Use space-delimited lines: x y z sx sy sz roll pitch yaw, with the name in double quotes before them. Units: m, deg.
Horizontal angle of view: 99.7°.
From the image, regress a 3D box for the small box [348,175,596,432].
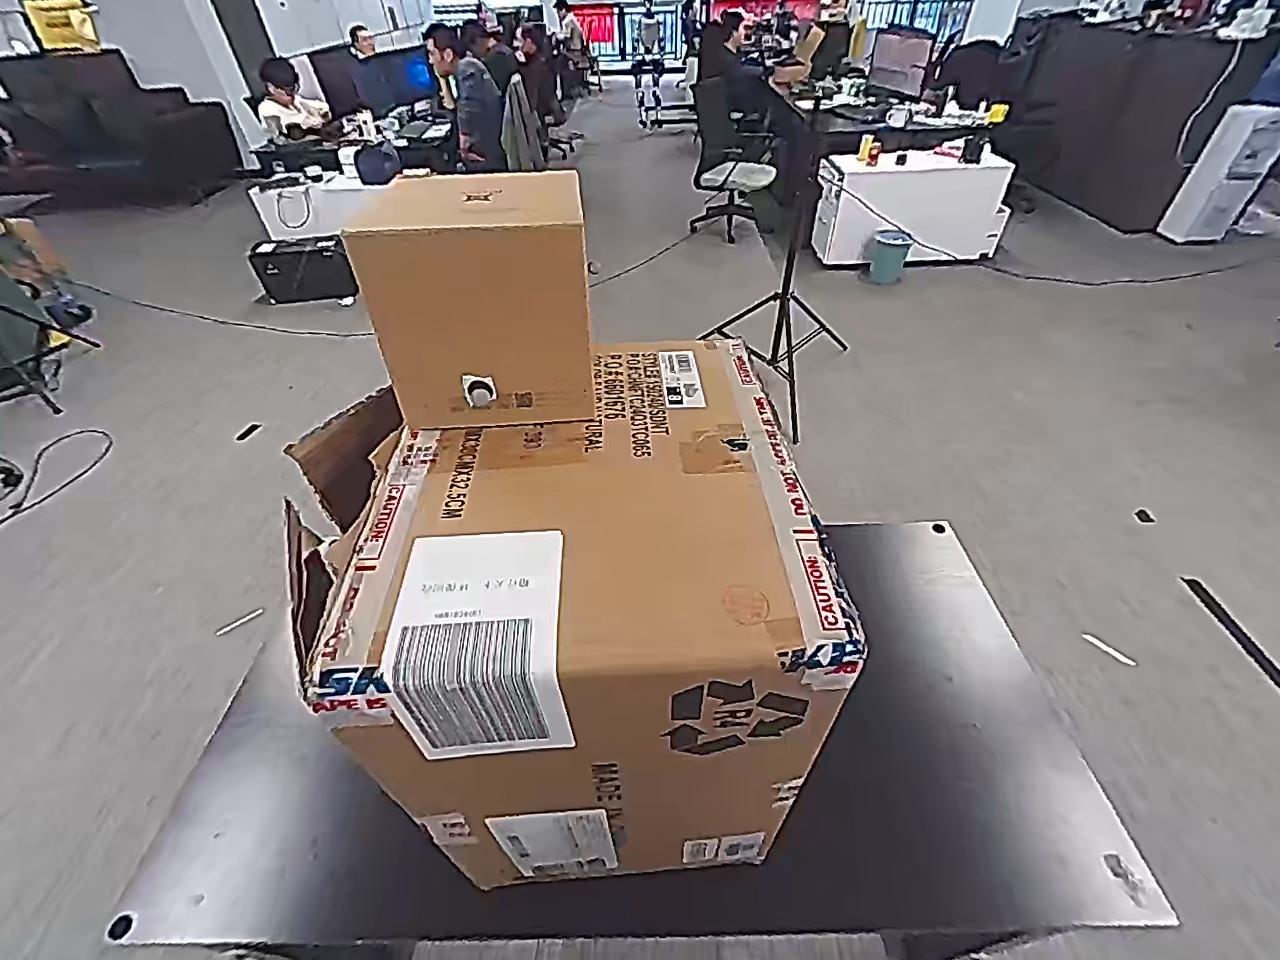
"small box" -0.130 -0.163 0.491 0.168 0.176 0.179 -5 42 -5
